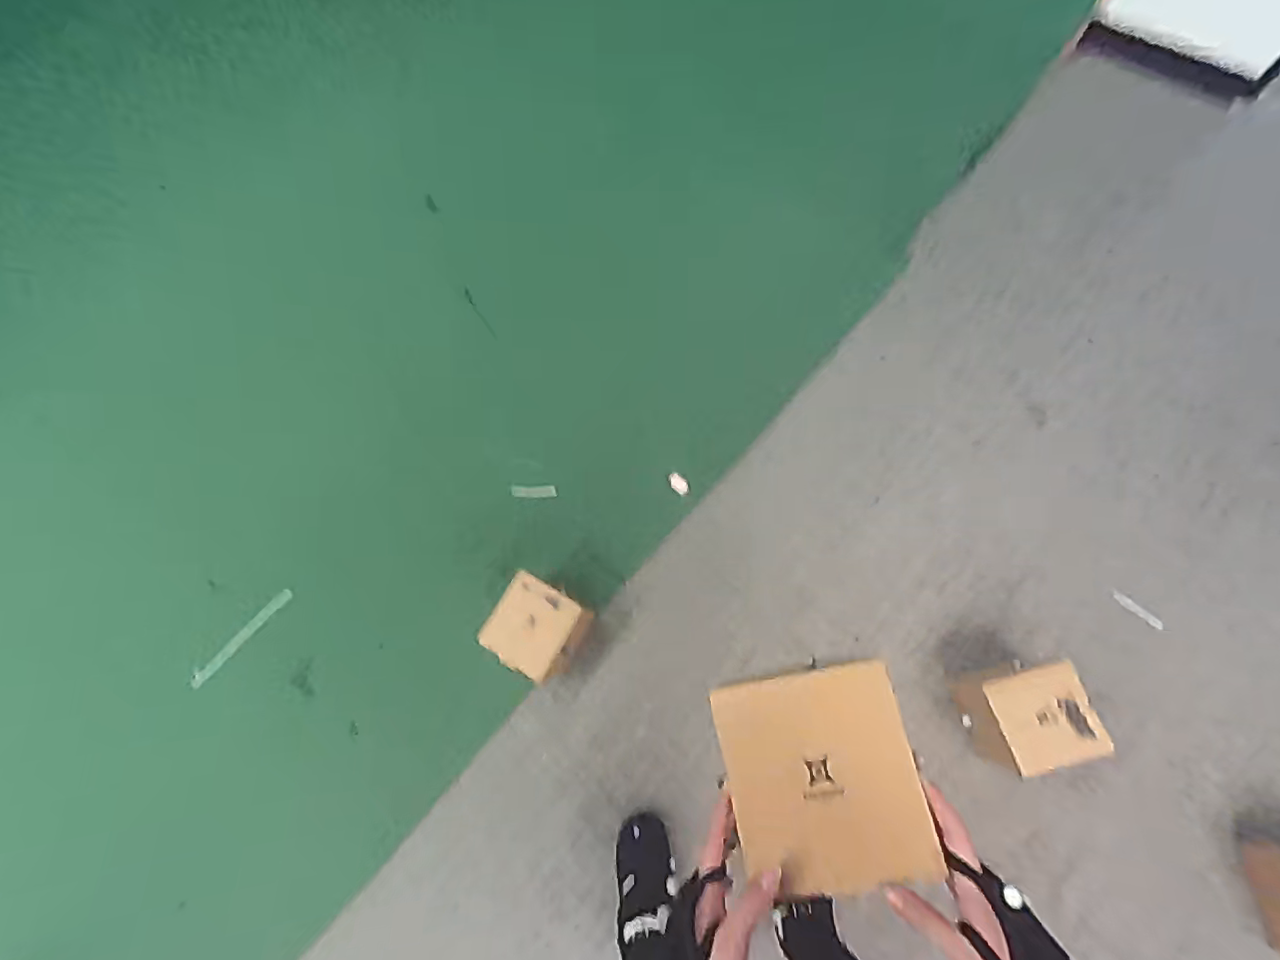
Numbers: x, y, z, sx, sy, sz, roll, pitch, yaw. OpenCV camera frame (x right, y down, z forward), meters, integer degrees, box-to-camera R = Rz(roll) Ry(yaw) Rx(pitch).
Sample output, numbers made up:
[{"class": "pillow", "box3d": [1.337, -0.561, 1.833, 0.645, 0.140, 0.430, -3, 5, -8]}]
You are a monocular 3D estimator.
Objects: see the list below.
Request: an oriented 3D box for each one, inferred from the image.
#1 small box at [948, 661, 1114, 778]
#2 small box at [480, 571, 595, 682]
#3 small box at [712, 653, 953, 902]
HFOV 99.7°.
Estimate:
[{"class": "small box", "box3d": [0.757, 0.463, 1.070, 0.179, 0.176, 0.168, -17, 71, 1]}, {"class": "small box", "box3d": [-0.220, 0.331, 1.223, 0.168, 0.176, 0.179, 29, 78, 14]}, {"class": "small box", "box3d": [0.174, 0.278, 0.546, 0.168, 0.176, 0.179, -15, 73, 8]}]
